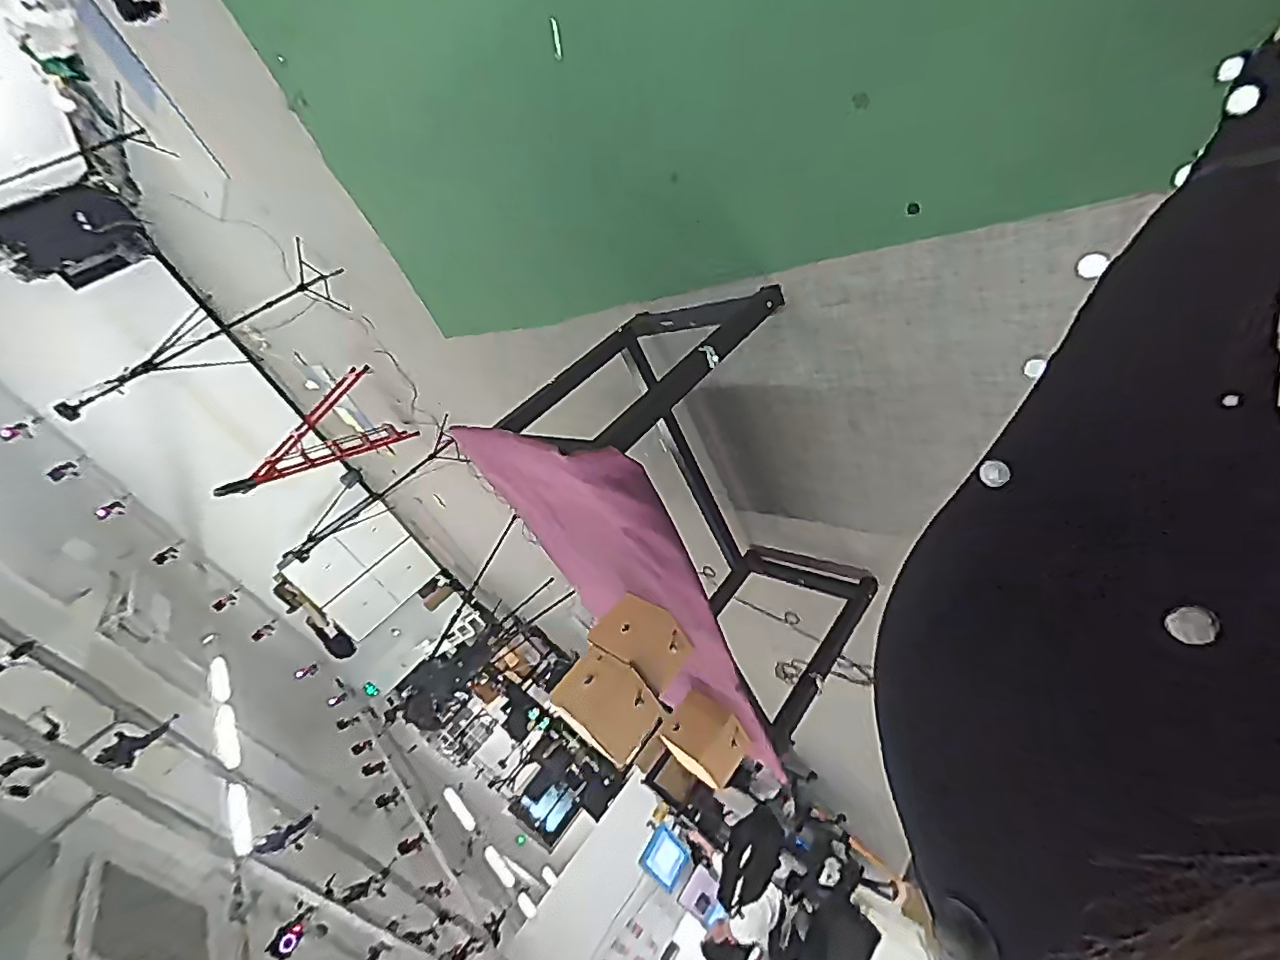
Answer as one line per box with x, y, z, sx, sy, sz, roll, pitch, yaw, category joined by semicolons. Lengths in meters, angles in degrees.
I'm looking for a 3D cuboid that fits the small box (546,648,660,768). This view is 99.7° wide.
-0.086;0.535;1.294;0.168;0.176;0.179;7;135;51;small box

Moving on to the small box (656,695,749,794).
0.185;0.762;1.582;0.179;0.176;0.168;10;137;51;small box

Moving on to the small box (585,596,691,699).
-0.002;0.424;1.384;0.179;0.176;0.168;11;138;48;small box
